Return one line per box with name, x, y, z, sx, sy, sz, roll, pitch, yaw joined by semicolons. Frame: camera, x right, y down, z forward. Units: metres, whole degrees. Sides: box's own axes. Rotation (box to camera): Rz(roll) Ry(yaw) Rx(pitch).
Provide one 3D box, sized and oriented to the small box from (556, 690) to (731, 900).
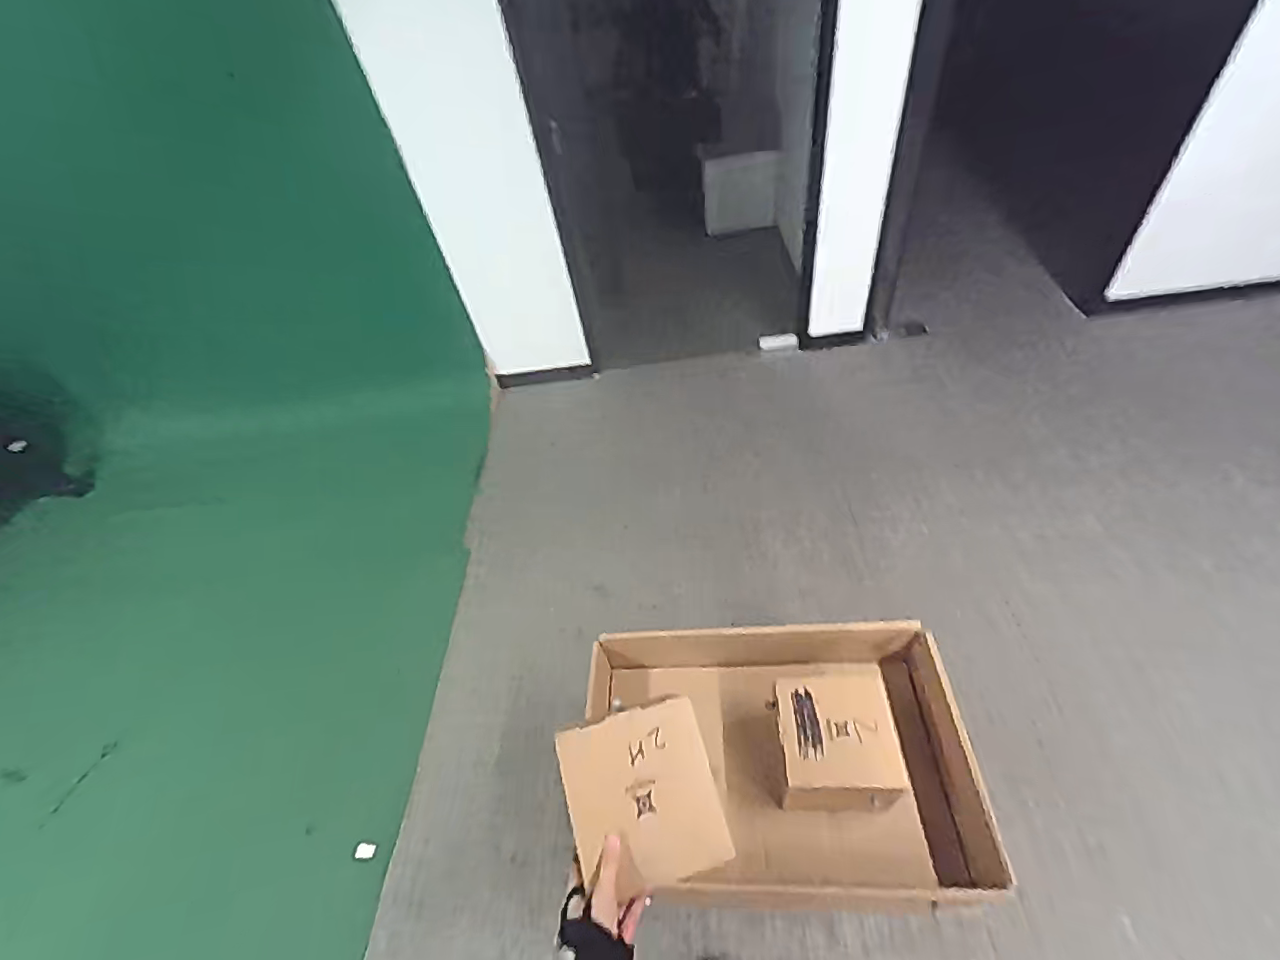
small box;-0.004;0.374;0.678;0.168;0.176;0.179;-12;69;-11
